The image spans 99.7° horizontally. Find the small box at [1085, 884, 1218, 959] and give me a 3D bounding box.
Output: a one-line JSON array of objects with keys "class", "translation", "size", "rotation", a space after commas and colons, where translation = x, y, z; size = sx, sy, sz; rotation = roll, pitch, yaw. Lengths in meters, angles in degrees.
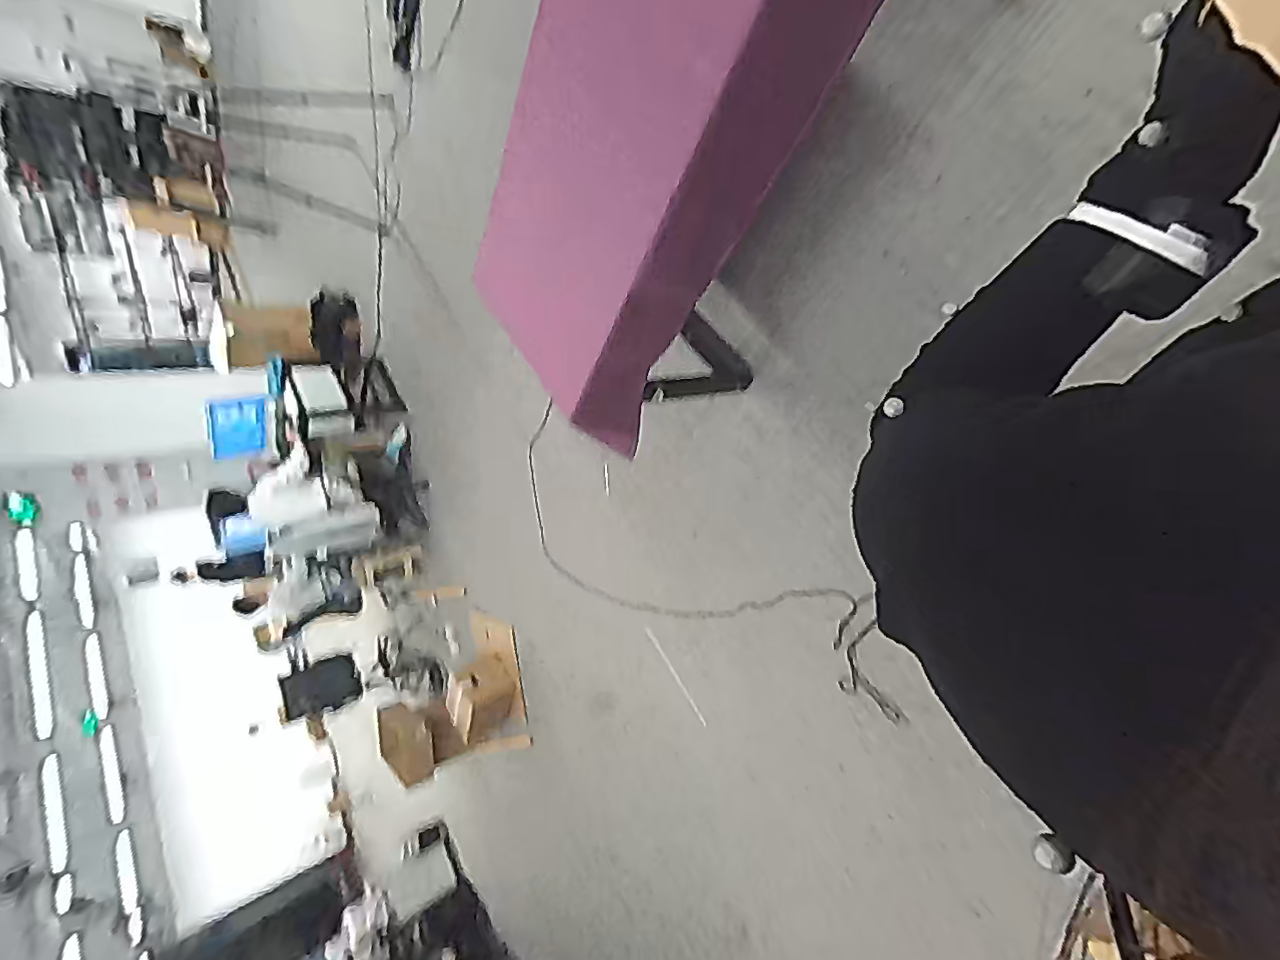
[{"class": "small box", "translation": [1.143, 1.044, 1.200], "size": [0.179, 0.176, 0.168], "rotation": [-33, 75, 49]}]
